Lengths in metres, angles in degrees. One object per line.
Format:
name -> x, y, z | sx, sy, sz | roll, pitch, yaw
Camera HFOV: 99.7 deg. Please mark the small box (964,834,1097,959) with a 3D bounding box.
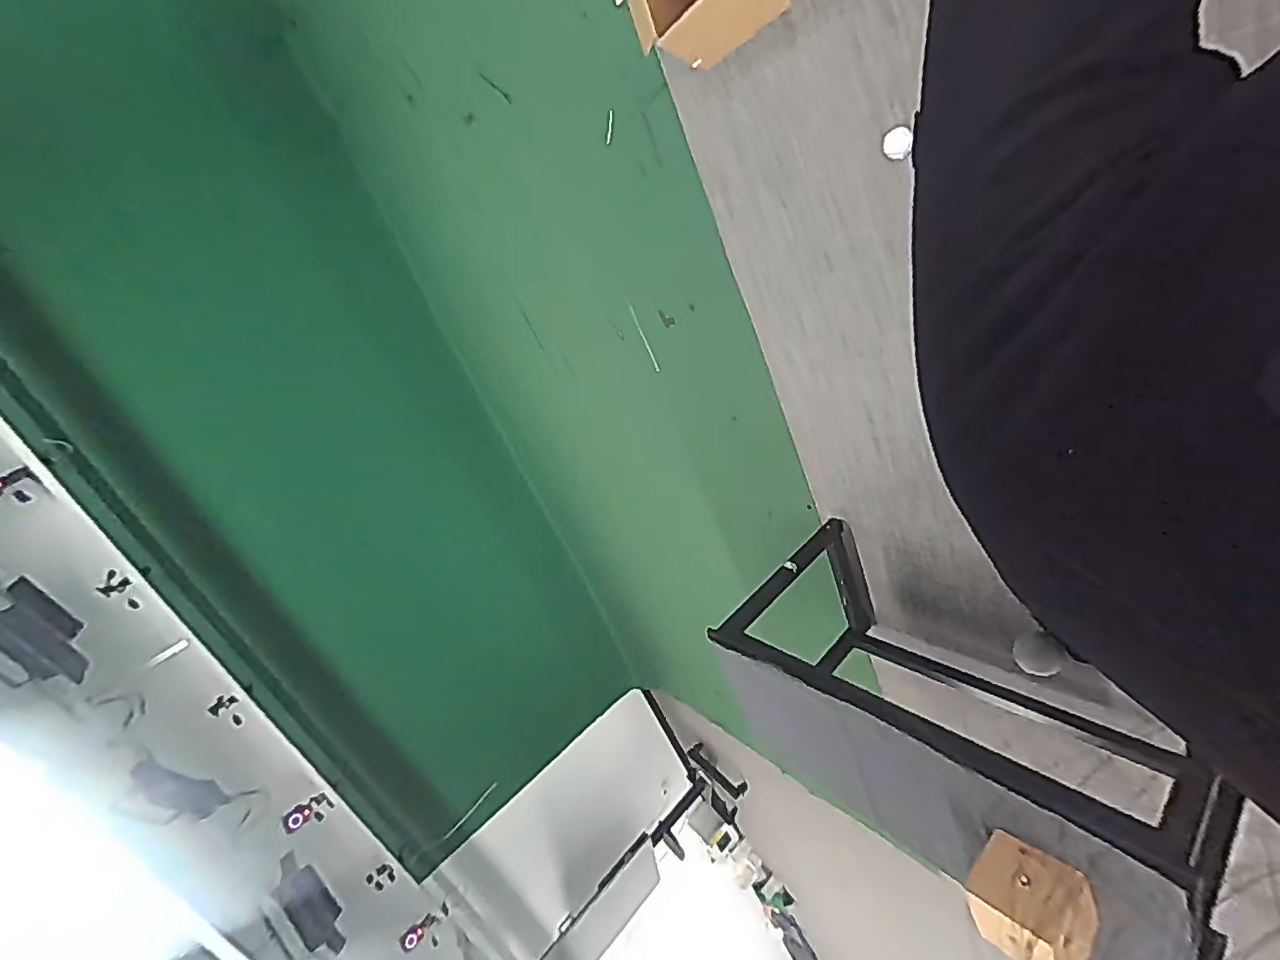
small box -> 0.825, 0.904, 1.140 | 0.168, 0.176, 0.179 | 4, 125, 58
